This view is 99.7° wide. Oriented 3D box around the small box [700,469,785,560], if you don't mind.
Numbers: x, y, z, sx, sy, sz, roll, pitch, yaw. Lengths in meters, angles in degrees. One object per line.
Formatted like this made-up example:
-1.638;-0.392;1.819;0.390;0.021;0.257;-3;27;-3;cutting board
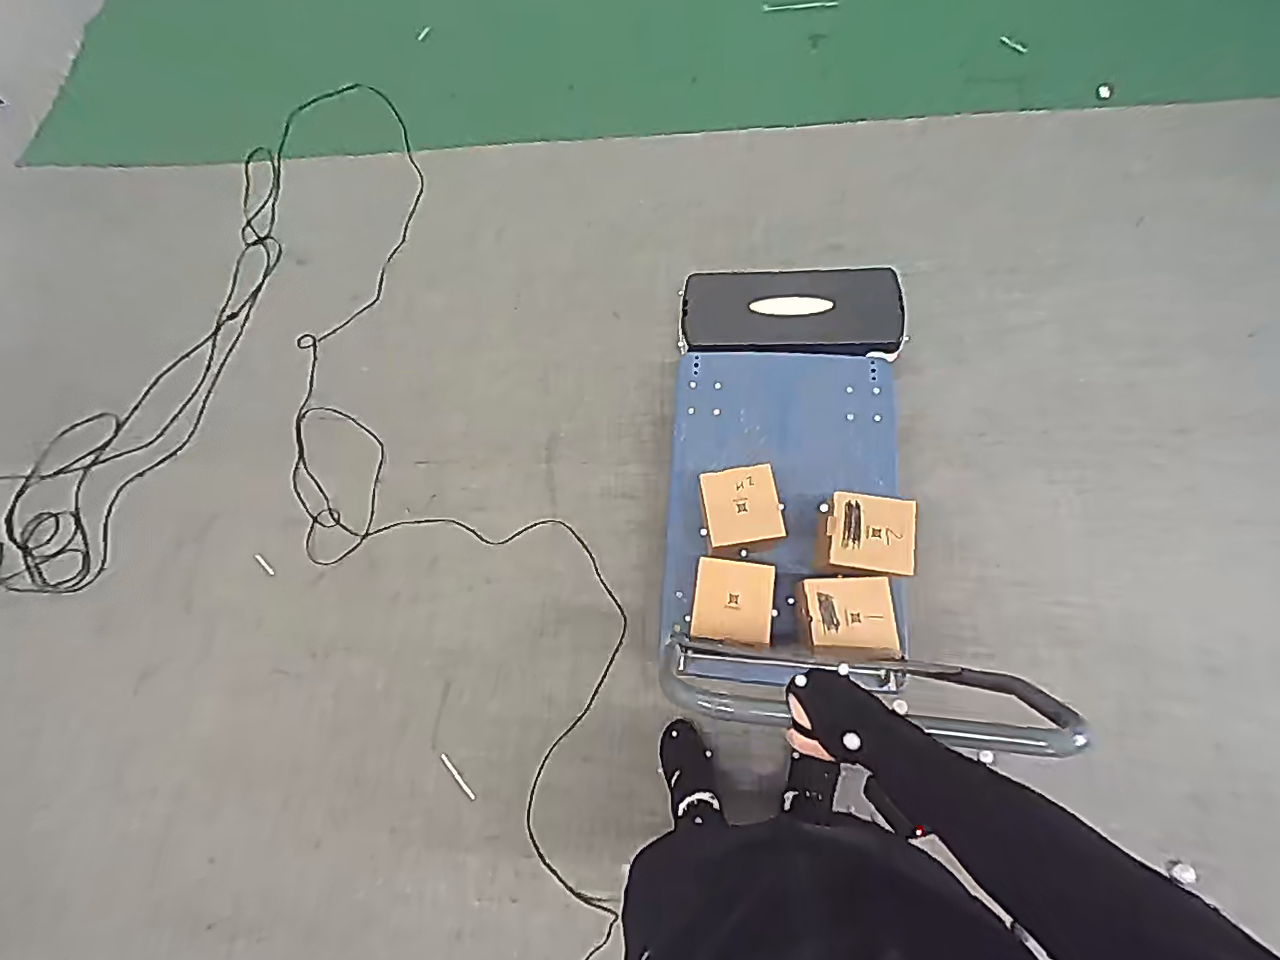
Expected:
0.237;0.091;1.289;0.168;0.176;0.179;-8;71;2;small box
